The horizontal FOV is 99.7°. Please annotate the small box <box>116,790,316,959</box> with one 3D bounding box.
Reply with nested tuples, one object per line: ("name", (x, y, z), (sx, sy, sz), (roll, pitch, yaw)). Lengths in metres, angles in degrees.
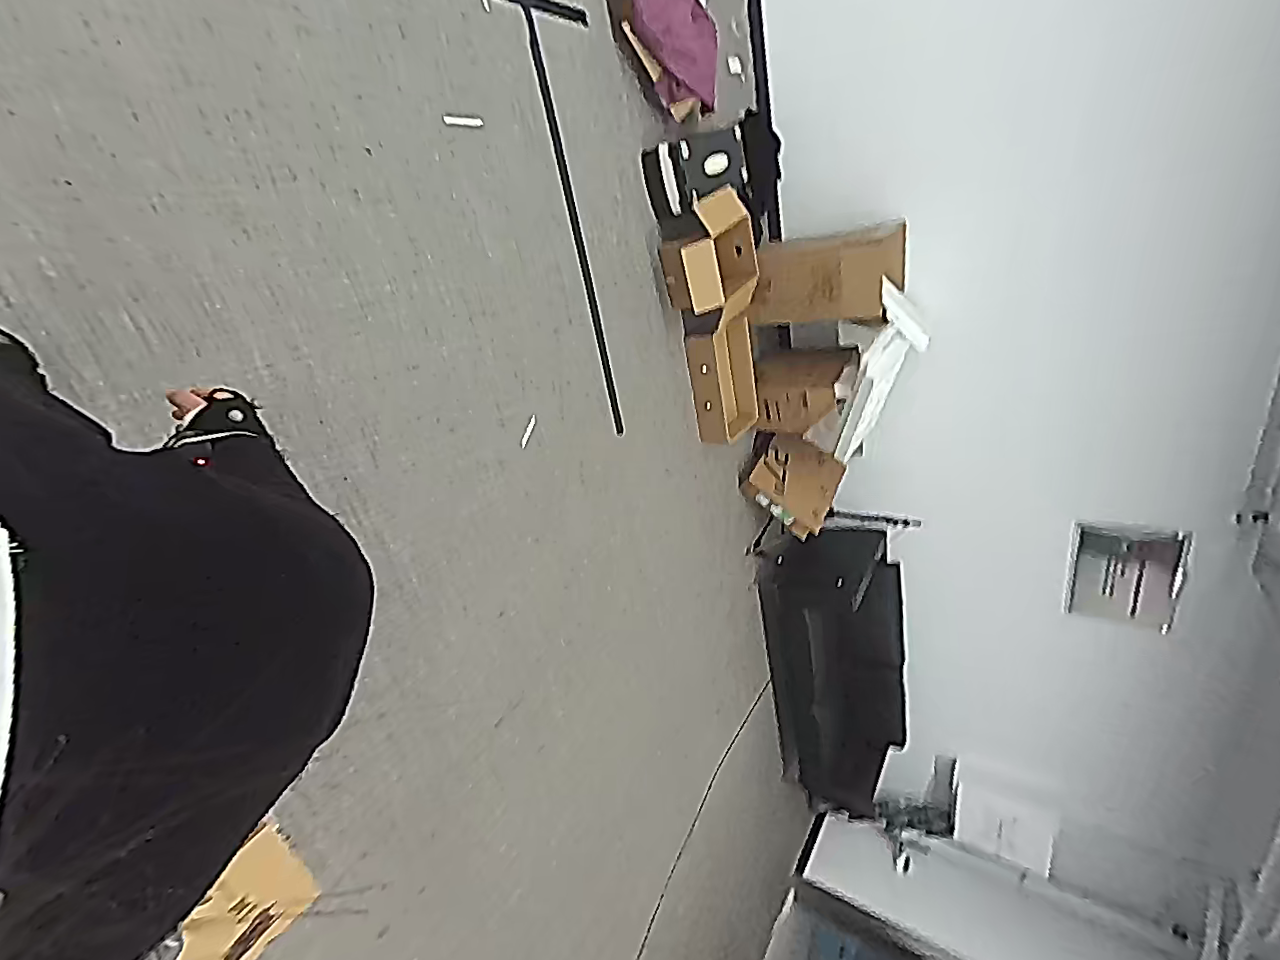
("small box", (-0.657, 0.629, 0.844), (0.168, 0.176, 0.179), (-39, 122, -47))
